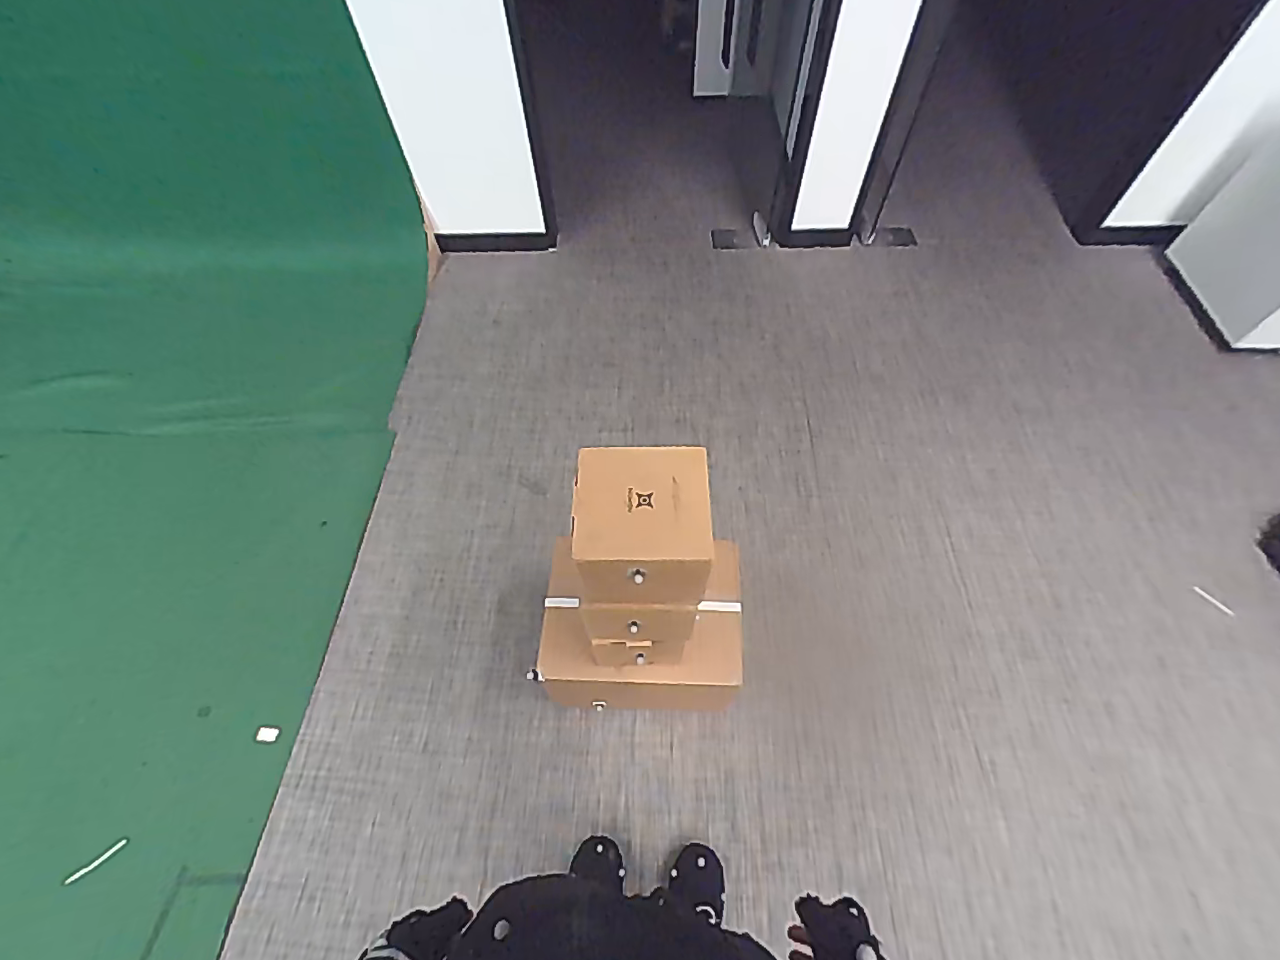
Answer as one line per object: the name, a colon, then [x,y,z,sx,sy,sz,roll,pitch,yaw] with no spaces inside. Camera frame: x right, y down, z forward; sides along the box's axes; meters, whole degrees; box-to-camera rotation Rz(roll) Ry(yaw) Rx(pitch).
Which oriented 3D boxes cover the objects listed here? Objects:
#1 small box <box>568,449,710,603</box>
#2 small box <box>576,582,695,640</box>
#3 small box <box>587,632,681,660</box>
small box: [0.000,0.070,0.759,0.179,0.176,0.168,0,60,0]
small box: [-0.003,0.160,0.894,0.179,0.176,0.168,0,59,3]
small box: [-0.008,0.244,1.036,0.168,0.176,0.179,-2,60,0]
